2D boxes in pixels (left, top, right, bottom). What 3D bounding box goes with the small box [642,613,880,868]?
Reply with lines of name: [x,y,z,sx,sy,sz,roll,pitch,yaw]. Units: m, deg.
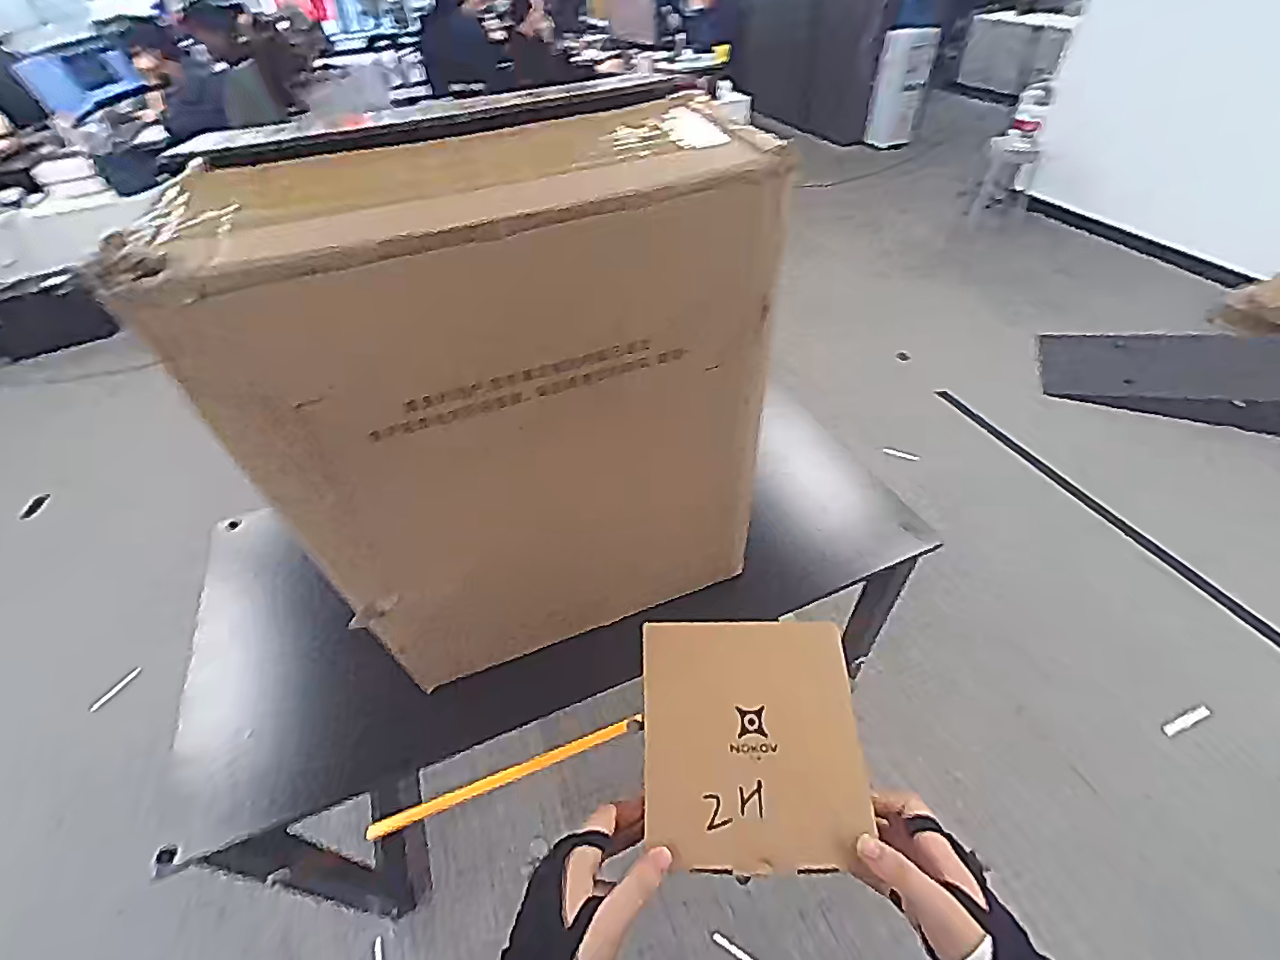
small box: [0.087,0.231,0.481,0.168,0.176,0.179,0,58,2]
